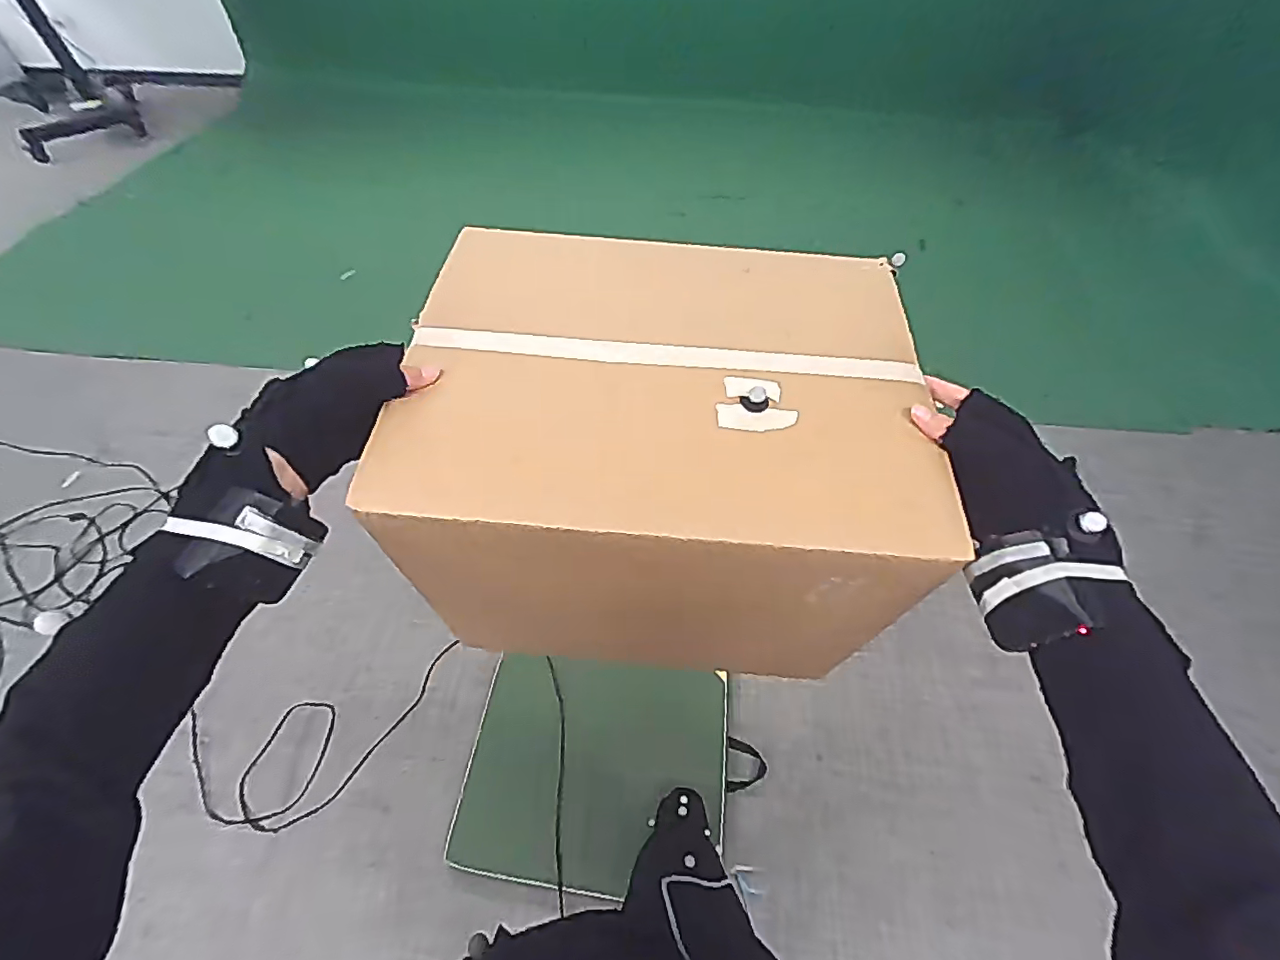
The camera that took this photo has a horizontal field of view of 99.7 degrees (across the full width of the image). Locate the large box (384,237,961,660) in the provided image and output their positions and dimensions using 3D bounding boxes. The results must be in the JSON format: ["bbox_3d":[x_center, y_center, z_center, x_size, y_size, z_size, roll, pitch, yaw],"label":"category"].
[{"bbox_3d":[0.022,-0.015,0.569,0.408,0.320,0.320,5,58,0],"label":"large box"}]
